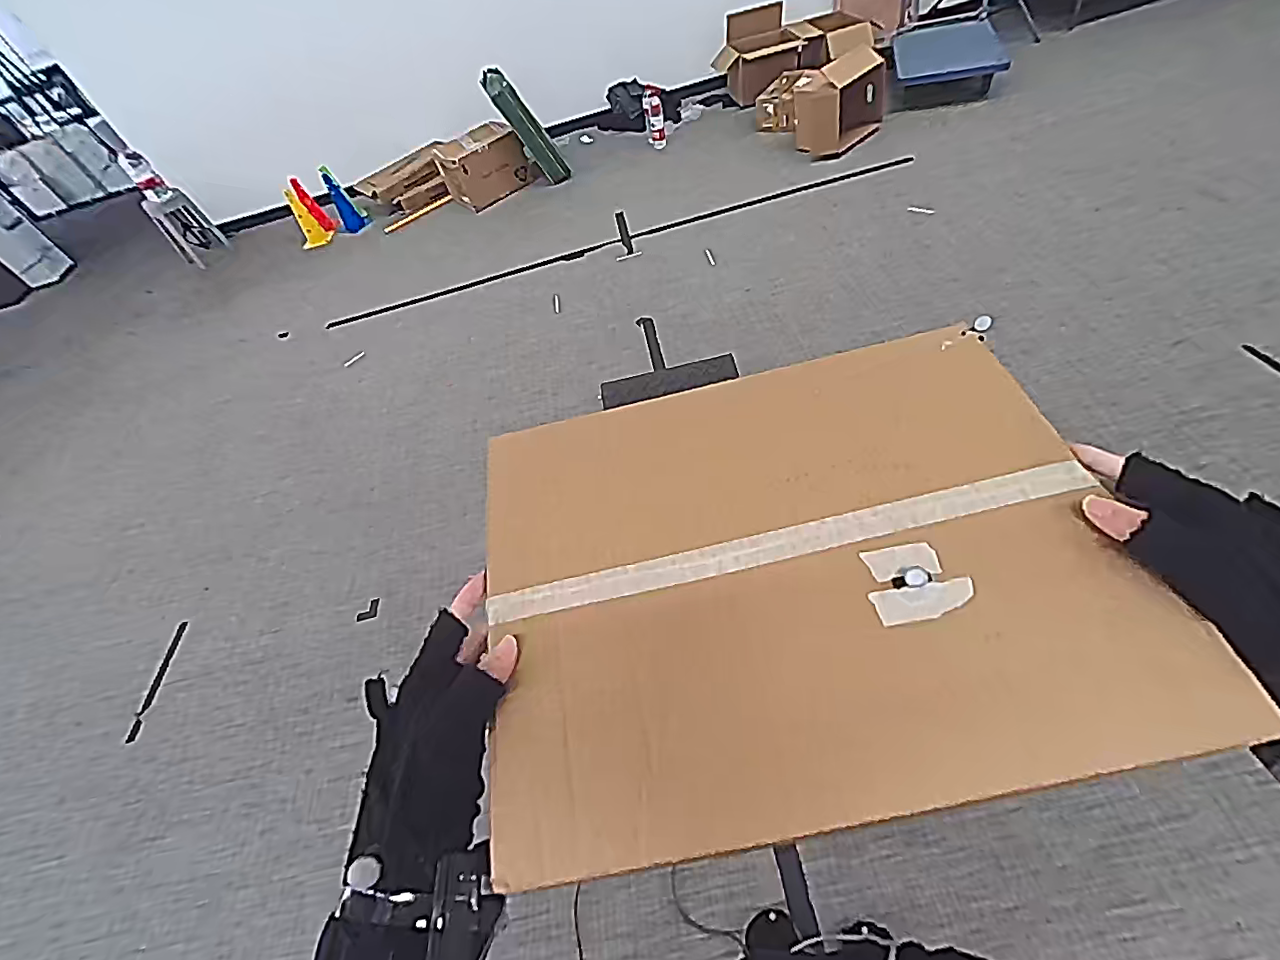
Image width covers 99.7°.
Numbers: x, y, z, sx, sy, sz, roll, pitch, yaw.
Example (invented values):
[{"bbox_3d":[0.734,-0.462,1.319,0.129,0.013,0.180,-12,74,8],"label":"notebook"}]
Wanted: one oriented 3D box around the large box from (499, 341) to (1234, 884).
[{"bbox_3d":[0.119,0.133,0.495,0.408,0.320,0.320,-13,56,2],"label":"large box"}]
